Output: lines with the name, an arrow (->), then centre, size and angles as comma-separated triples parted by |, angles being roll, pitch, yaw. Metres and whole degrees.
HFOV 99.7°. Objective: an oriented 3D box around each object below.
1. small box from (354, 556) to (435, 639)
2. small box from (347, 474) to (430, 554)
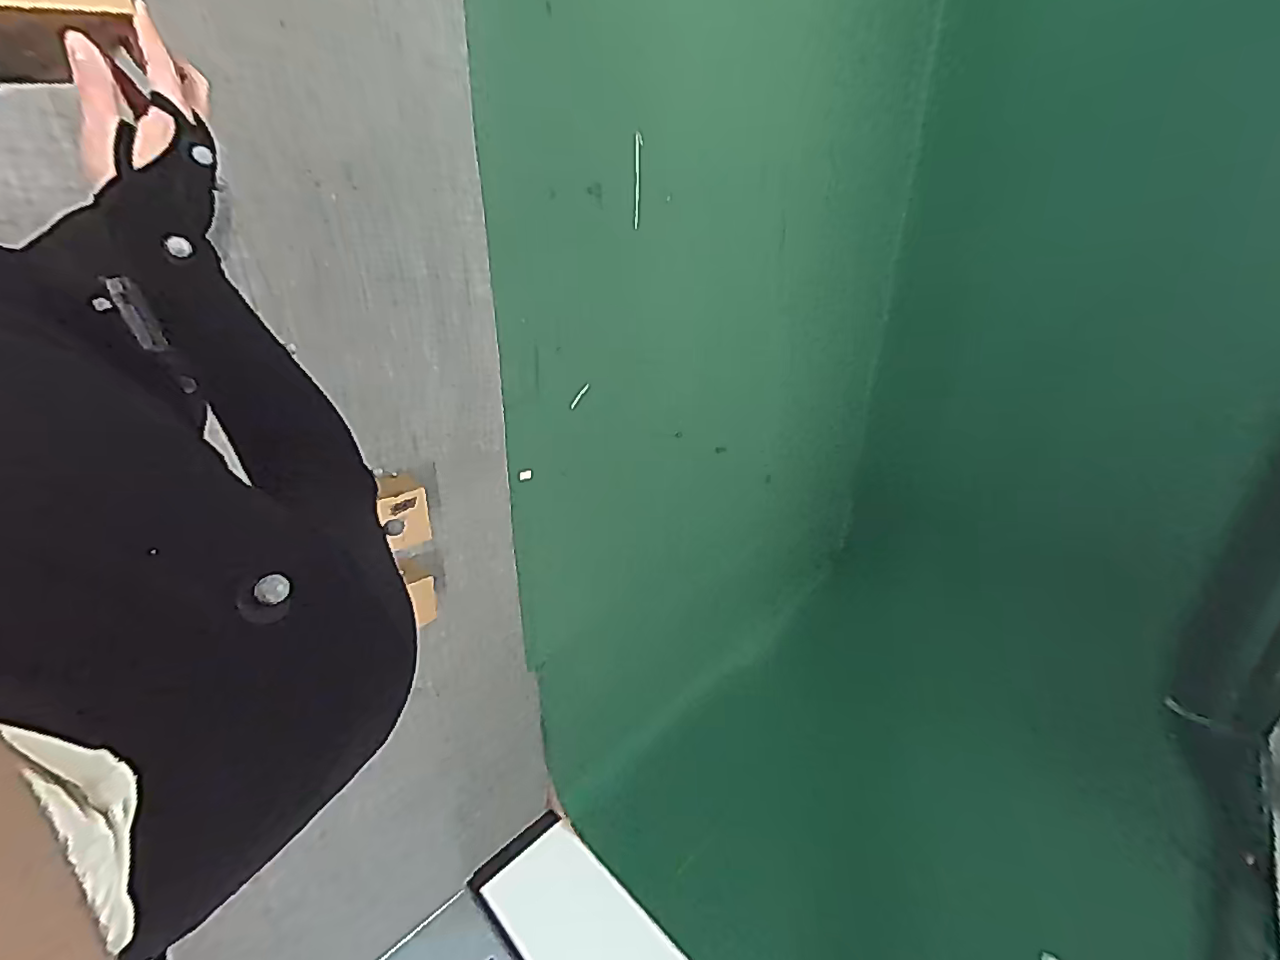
small box -> -0.773, 0.362, 1.706 | 0.179, 0.176, 0.168 | -18, 120, -42
small box -> -0.748, 0.091, 1.608 | 0.168, 0.176, 0.179 | -19, 121, -41
